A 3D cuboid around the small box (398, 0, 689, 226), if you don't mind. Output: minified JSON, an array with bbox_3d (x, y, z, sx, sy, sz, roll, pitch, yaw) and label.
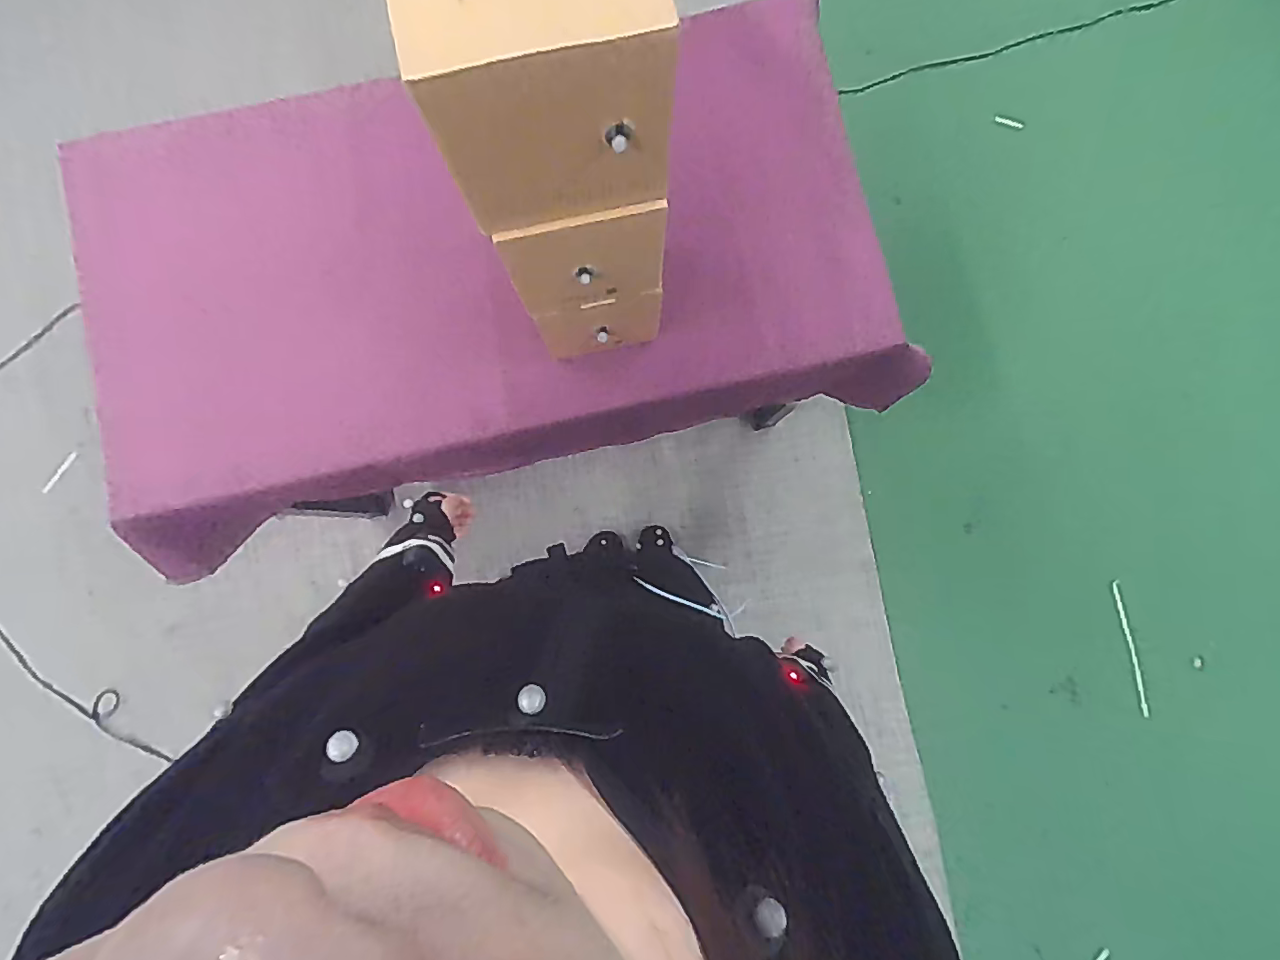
[{"bbox_3d":[-0.071,-0.328,0.417,0.179,0.176,0.168,-12,84,-1],"label":"small box"}]

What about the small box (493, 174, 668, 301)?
[{"bbox_3d":[-0.069,-0.309,0.580,0.168,0.176,0.179,-12,85,-2],"label":"small box"}]

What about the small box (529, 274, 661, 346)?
[{"bbox_3d":[-0.068,-0.296,0.745,0.168,0.176,0.179,-11,86,-2],"label":"small box"}]
